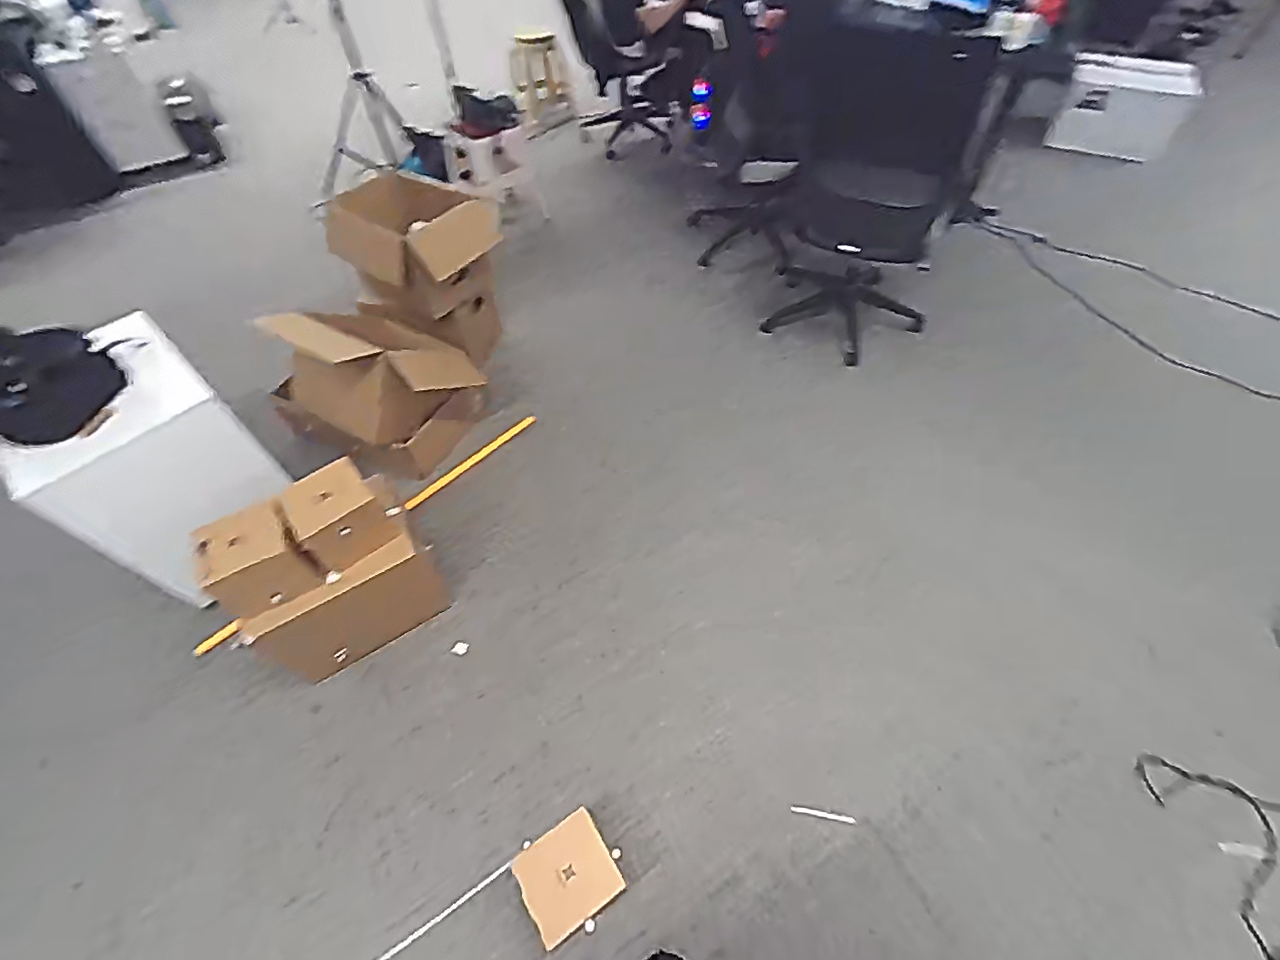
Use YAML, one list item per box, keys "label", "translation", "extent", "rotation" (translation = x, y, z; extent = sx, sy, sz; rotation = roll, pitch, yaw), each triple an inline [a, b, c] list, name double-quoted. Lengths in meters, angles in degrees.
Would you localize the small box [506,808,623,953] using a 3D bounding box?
- label: "small box"
  translation: [-0.147, 0.809, 1.106]
  extent: [0.179, 0.176, 0.168]
  rotation: [-30, 58, -18]
